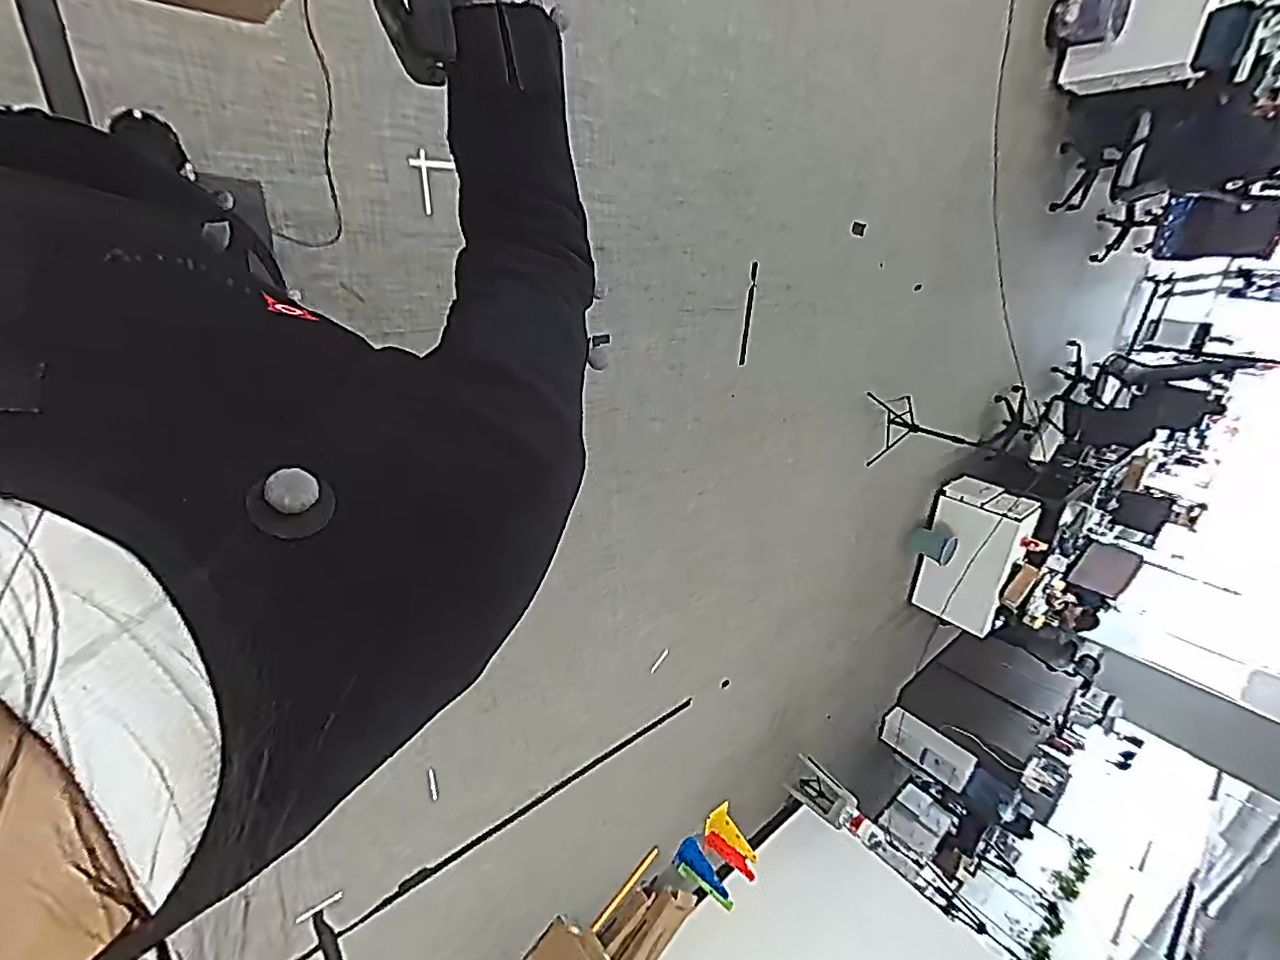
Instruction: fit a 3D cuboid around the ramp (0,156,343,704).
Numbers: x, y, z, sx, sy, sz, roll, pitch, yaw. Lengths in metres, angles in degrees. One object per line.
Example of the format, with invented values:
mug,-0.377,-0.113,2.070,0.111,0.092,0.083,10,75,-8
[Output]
ramp,-0.959,-0.083,1.093,0.509,0.206,0.991,-15,118,-35
